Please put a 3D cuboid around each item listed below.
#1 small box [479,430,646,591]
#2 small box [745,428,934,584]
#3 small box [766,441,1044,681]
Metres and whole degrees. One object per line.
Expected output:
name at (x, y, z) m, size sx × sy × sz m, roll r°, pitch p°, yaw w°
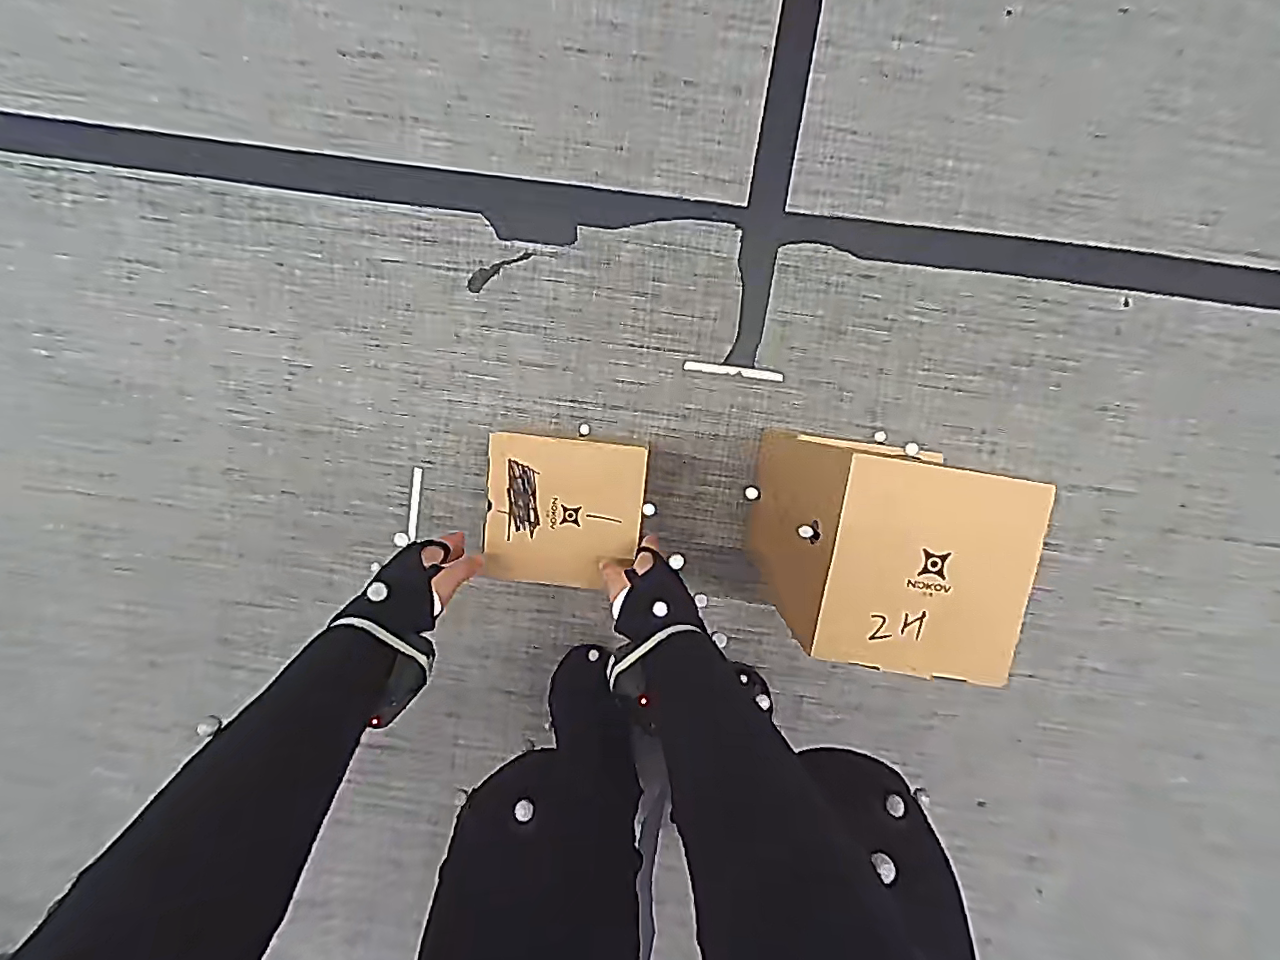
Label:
small box at (-0.087, 0.028, 0.681) m, size 0.179 × 0.176 × 0.168 m, roll 5°, pitch 98°, yaw -1°
small box at (0.234, 0.033, 0.682) m, size 0.168 × 0.176 × 0.179 m, roll 7°, pitch 98°, yaw 0°
small box at (0.228, 0.061, 0.517) m, size 0.168 × 0.176 × 0.179 m, roll 9°, pitch 97°, yaw 0°
